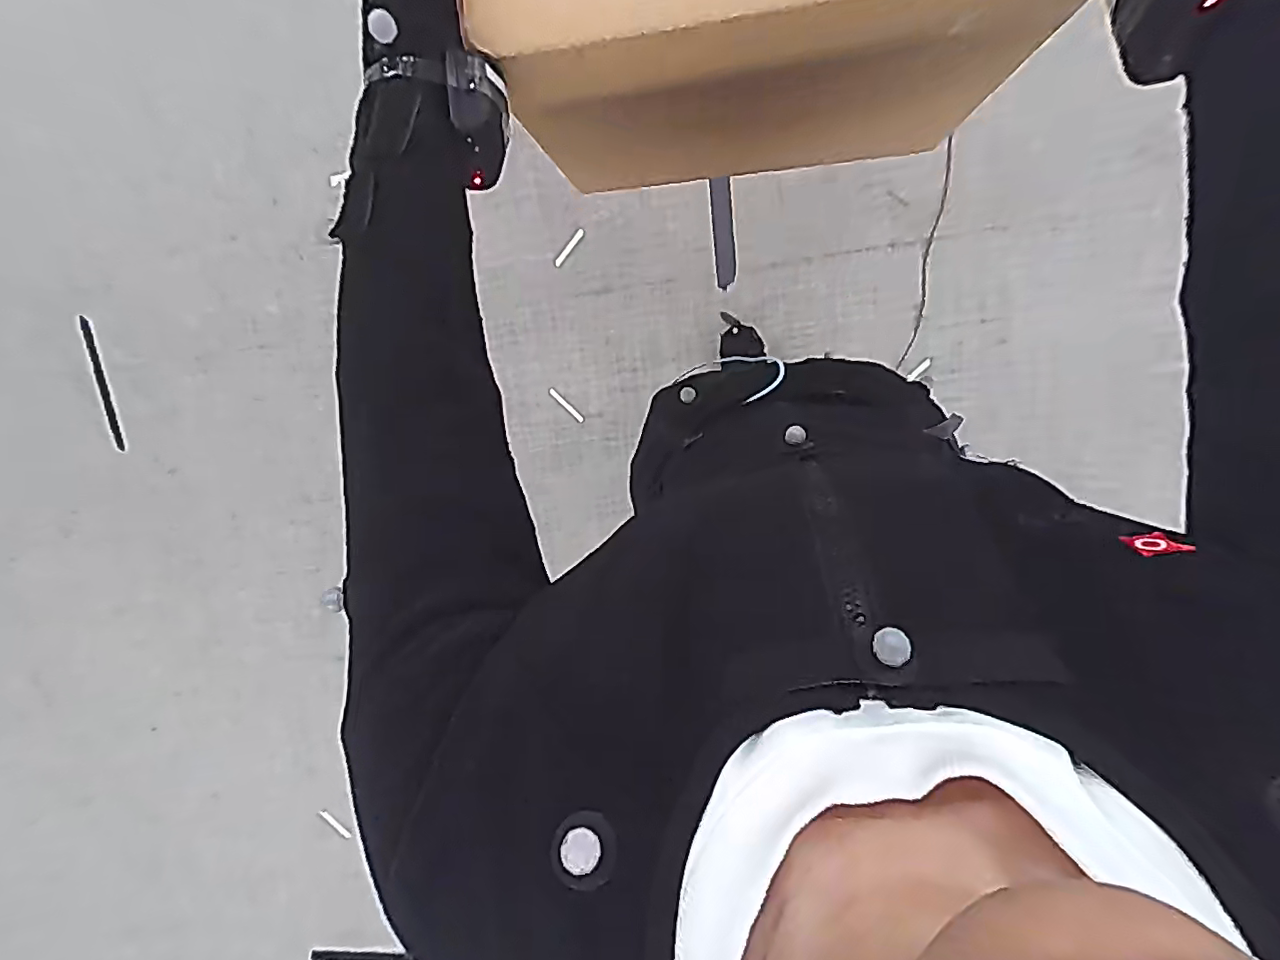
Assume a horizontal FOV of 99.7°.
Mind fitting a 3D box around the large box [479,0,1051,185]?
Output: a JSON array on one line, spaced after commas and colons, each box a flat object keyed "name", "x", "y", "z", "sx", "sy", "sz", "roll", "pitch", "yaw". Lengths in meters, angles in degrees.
[{"name": "large box", "x": 0.092, "y": -0.484, "z": 0.451, "sx": 0.408, "sy": 0.320, "sz": 0.320, "roll": -3, "pitch": 103, "yaw": 8}]
